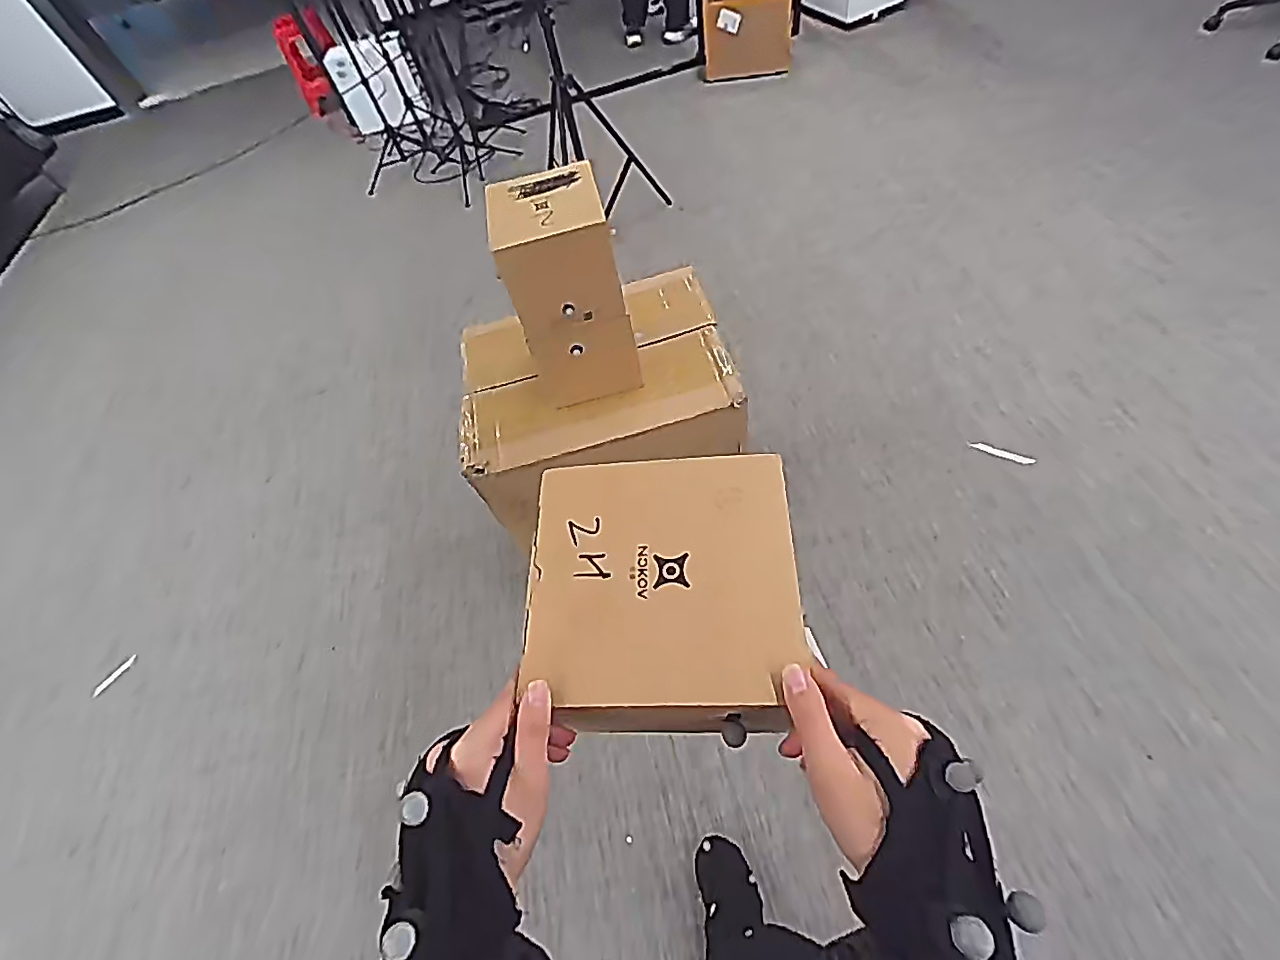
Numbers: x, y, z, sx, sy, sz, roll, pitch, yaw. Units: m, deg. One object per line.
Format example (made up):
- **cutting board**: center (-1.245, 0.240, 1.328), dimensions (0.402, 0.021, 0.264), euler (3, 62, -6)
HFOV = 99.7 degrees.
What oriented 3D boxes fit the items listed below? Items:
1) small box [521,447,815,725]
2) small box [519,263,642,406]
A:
- **small box**: center (0.026, 0.092, 0.422), dimensions (0.179, 0.176, 0.168), euler (-4, 59, 8)
- **small box**: center (-0.105, -0.258, 0.984), dimensions (0.179, 0.176, 0.168), euler (-14, 55, 1)
